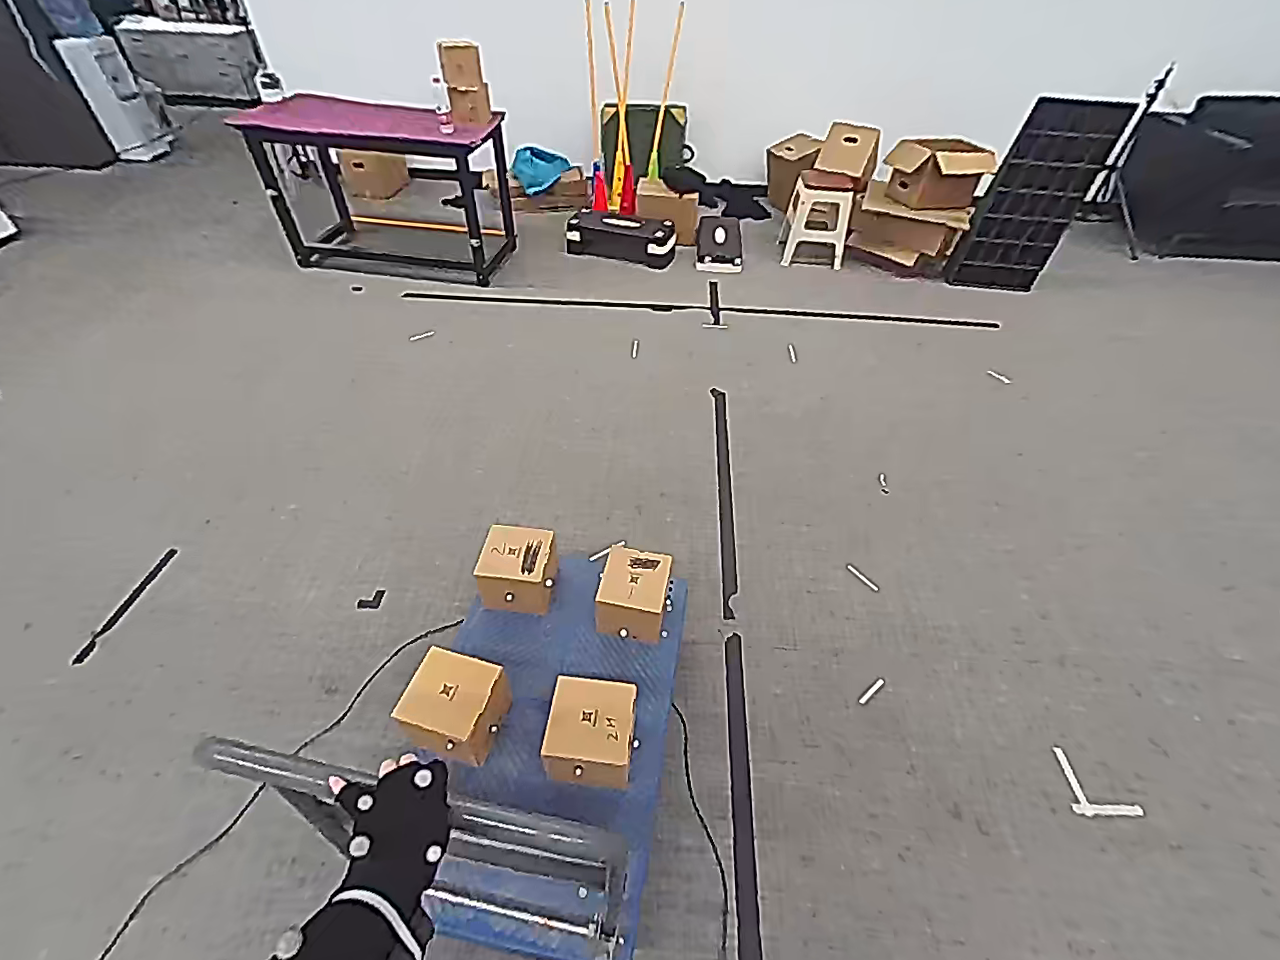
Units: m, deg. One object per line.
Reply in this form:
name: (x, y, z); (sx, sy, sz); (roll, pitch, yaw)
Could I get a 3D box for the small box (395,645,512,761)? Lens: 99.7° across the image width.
small box: (-0.405, 0.500, 1.207); (0.179, 0.176, 0.168); (14, 46, 8)

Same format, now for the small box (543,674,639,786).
small box: (-0.100, 0.546, 1.176); (0.179, 0.176, 0.168); (6, 46, 3)

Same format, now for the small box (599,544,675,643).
small box: (-0.009, 0.298, 1.424); (0.168, 0.176, 0.179); (10, 47, 7)
